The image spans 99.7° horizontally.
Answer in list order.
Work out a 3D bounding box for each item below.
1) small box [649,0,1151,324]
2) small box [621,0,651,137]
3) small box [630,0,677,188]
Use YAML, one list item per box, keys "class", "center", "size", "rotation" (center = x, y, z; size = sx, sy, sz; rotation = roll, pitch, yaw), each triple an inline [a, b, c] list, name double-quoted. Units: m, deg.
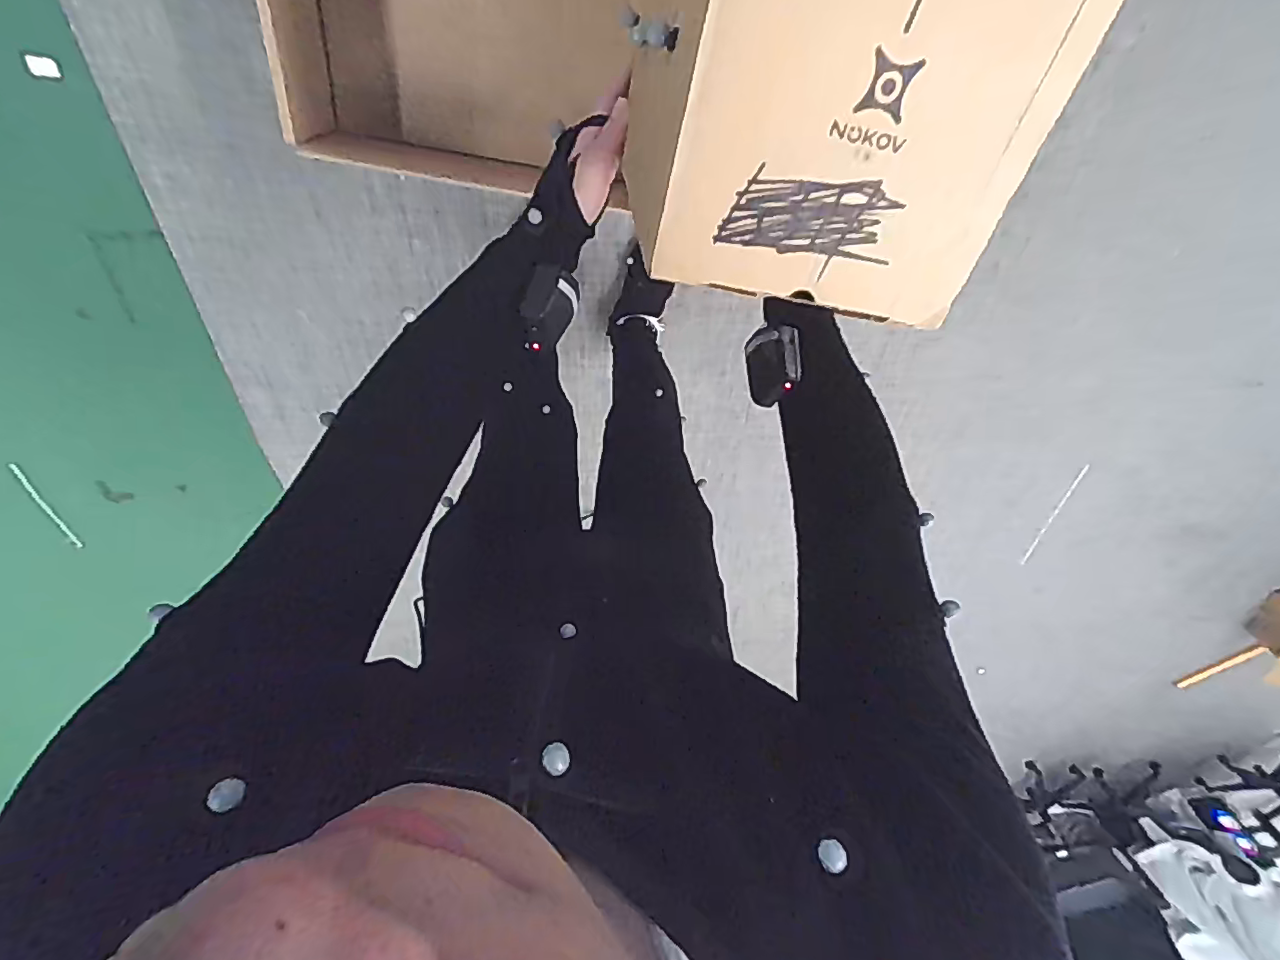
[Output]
- class: "small box"
  center: [0.103, -0.210, 0.290]
  size: [0.168, 0.176, 0.179]
  rotation: [7, 127, -11]
- class: "small box"
  center: [0.077, -0.423, 0.537]
  size: [0.168, 0.176, 0.179]
  rotation: [6, 127, -11]
- class: "small box"
  center: [0.090, -0.316, 0.413]
  size: [0.168, 0.176, 0.179]
  rotation: [7, 128, -11]
